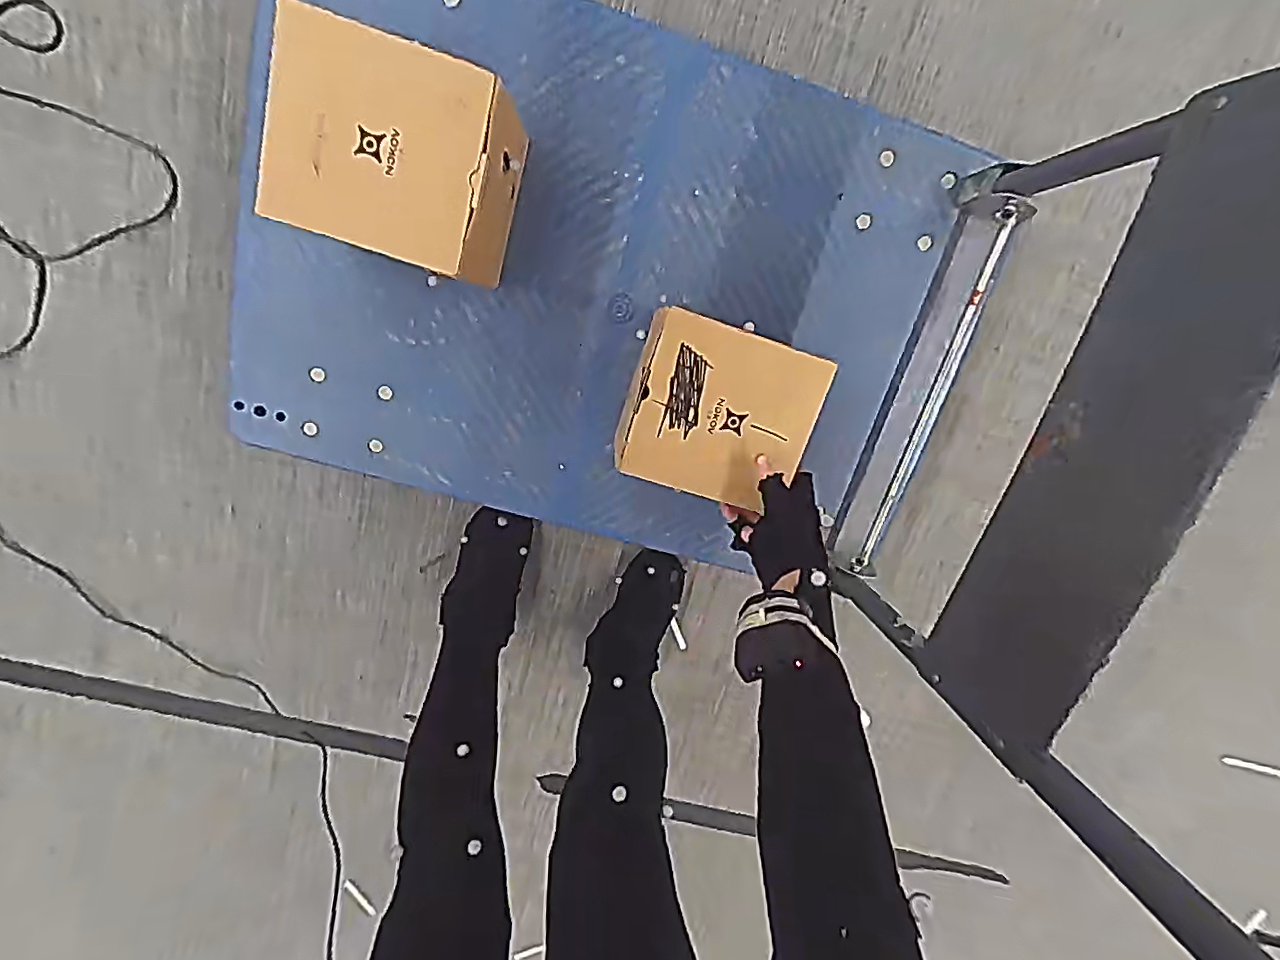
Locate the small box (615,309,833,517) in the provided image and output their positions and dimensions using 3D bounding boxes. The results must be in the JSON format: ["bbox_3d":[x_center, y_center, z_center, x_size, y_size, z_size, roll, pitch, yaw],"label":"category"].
[{"bbox_3d":[0.077,-0.080,0.608,0.179,0.176,0.168,17,104,-8],"label":"small box"}]

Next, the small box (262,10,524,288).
[{"bbox_3d":[-0.224,-0.297,0.533,0.179,0.176,0.168,15,103,-7],"label":"small box"}]
